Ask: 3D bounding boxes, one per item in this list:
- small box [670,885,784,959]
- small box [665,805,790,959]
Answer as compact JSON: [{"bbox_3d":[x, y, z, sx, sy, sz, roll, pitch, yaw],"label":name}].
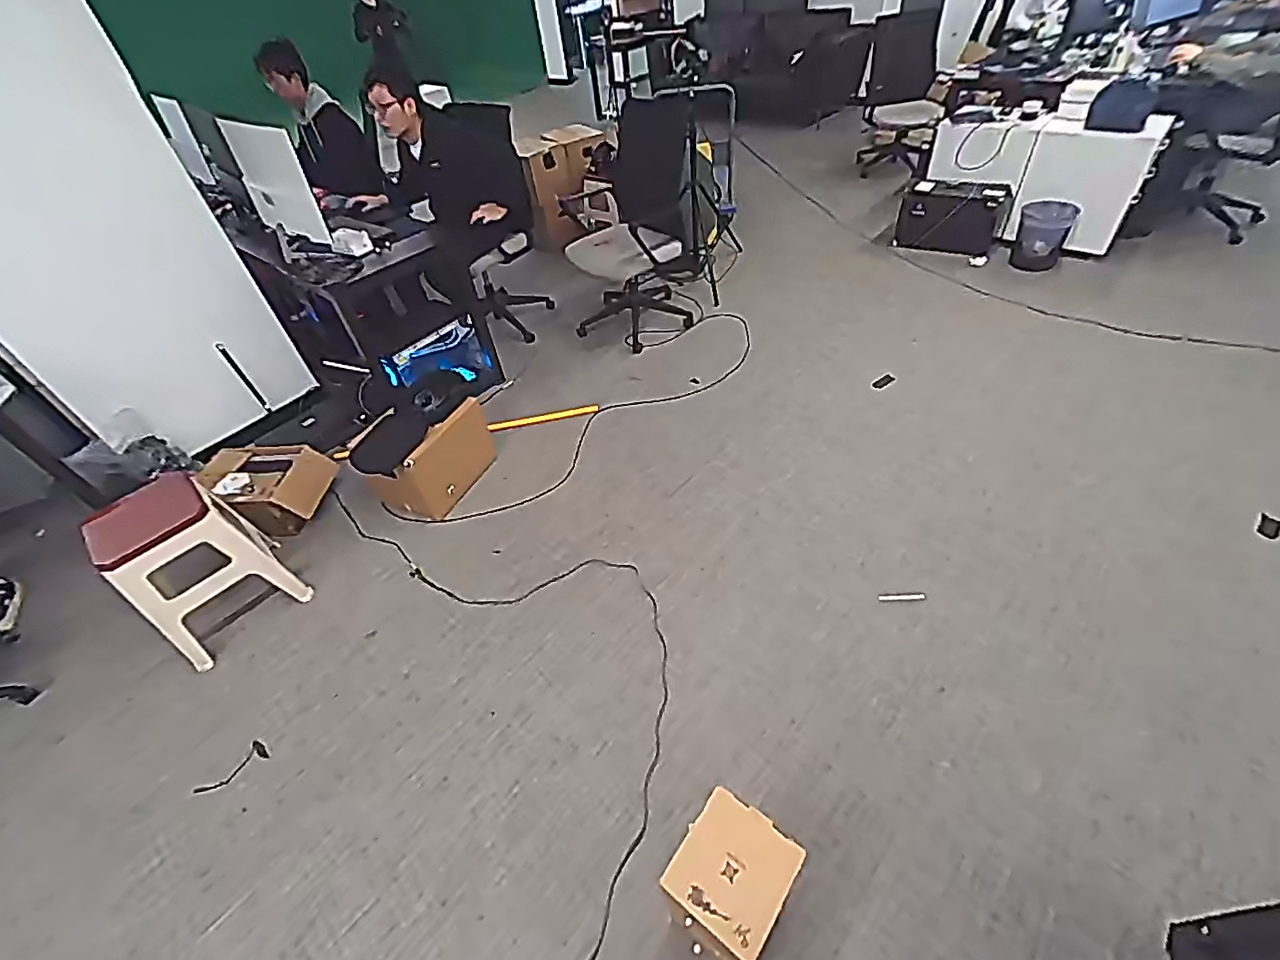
[{"bbox_3d":[0.180,0.886,1.128,0.168,0.176,0.179,26,54,30],"label":"small box"},{"bbox_3d":[0.165,0.767,1.019,0.168,0.176,0.179,24,51,27],"label":"small box"}]
